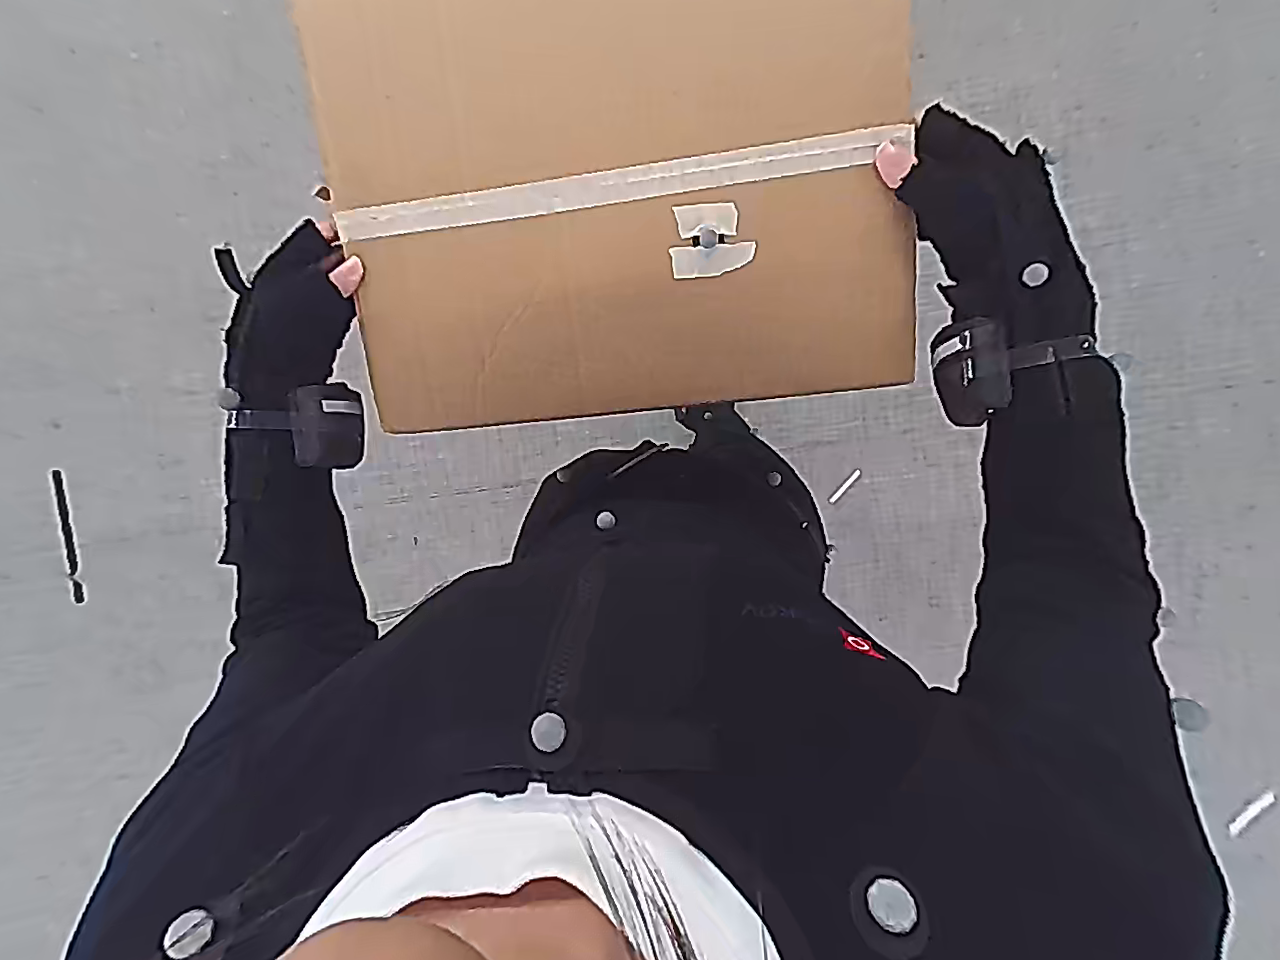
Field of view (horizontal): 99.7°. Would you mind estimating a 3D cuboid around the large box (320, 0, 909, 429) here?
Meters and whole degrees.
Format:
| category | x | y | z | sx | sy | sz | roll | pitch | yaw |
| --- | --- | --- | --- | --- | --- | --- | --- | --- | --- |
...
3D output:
| category | x | y | z | sx | sy | sz | roll | pitch | yaw |
| --- | --- | --- | --- | --- | --- | --- | --- | --- | --- |
| large box | -0.005 | -0.241 | 0.536 | 0.408 | 0.320 | 0.320 | -6 | 102 | 6 |
